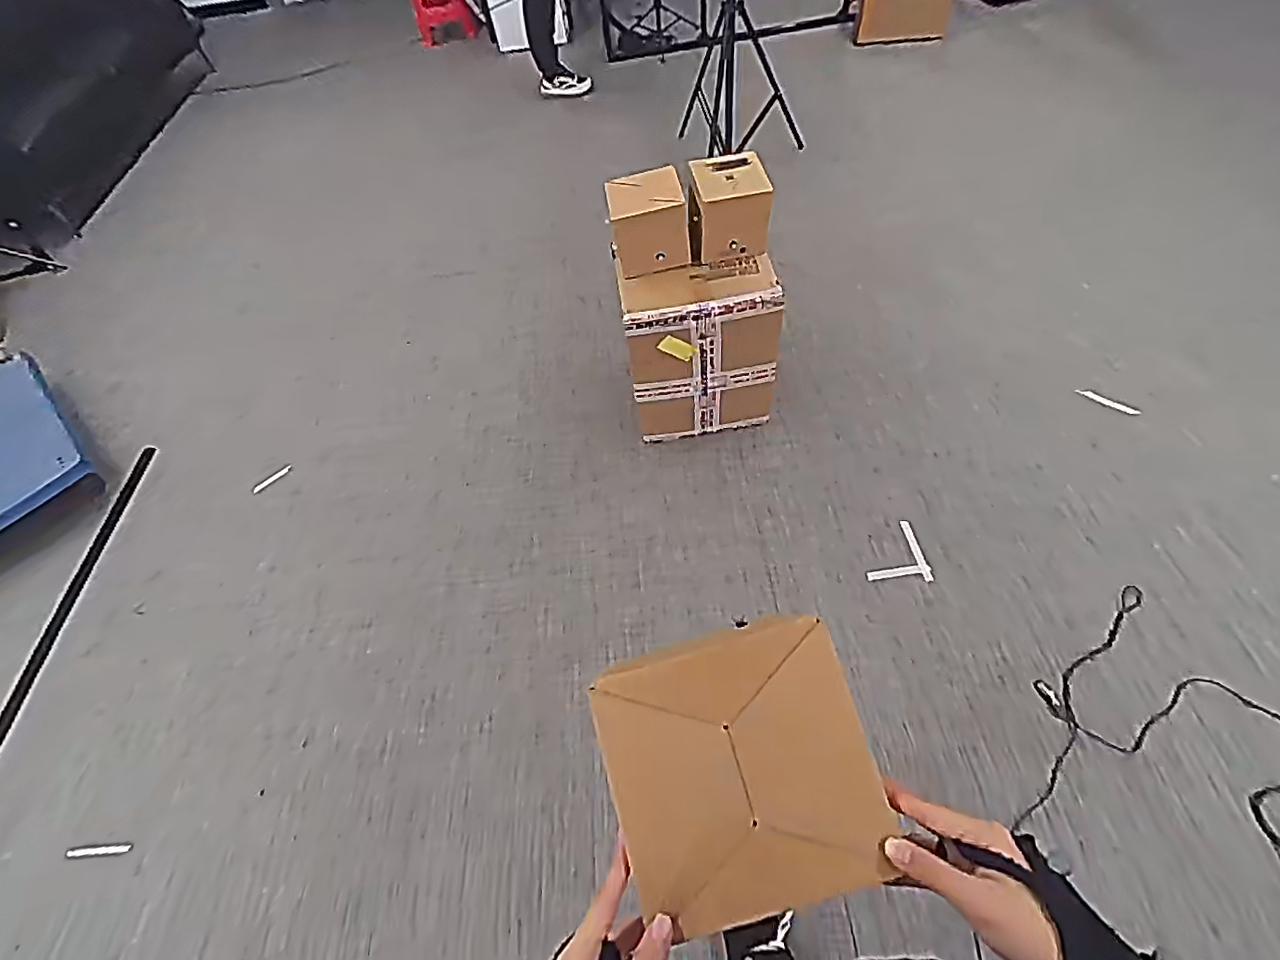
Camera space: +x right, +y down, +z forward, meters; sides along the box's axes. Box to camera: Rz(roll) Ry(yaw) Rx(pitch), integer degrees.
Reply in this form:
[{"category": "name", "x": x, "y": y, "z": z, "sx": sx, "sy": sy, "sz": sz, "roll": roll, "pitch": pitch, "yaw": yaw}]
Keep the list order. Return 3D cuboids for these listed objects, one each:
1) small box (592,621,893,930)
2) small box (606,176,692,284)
[{"category": "small box", "x": 0.069, "y": 0.219, "z": 0.444, "sx": 0.179, "sy": 0.176, "sz": 0.168, "roll": -16, "pitch": 76, "yaw": 0}, {"category": "small box", "x": 0.024, "y": -0.625, "z": 1.348, "sx": 0.179, "sy": 0.176, "sz": 0.168, "roll": -11, "pitch": 57, "yaw": 3}]
